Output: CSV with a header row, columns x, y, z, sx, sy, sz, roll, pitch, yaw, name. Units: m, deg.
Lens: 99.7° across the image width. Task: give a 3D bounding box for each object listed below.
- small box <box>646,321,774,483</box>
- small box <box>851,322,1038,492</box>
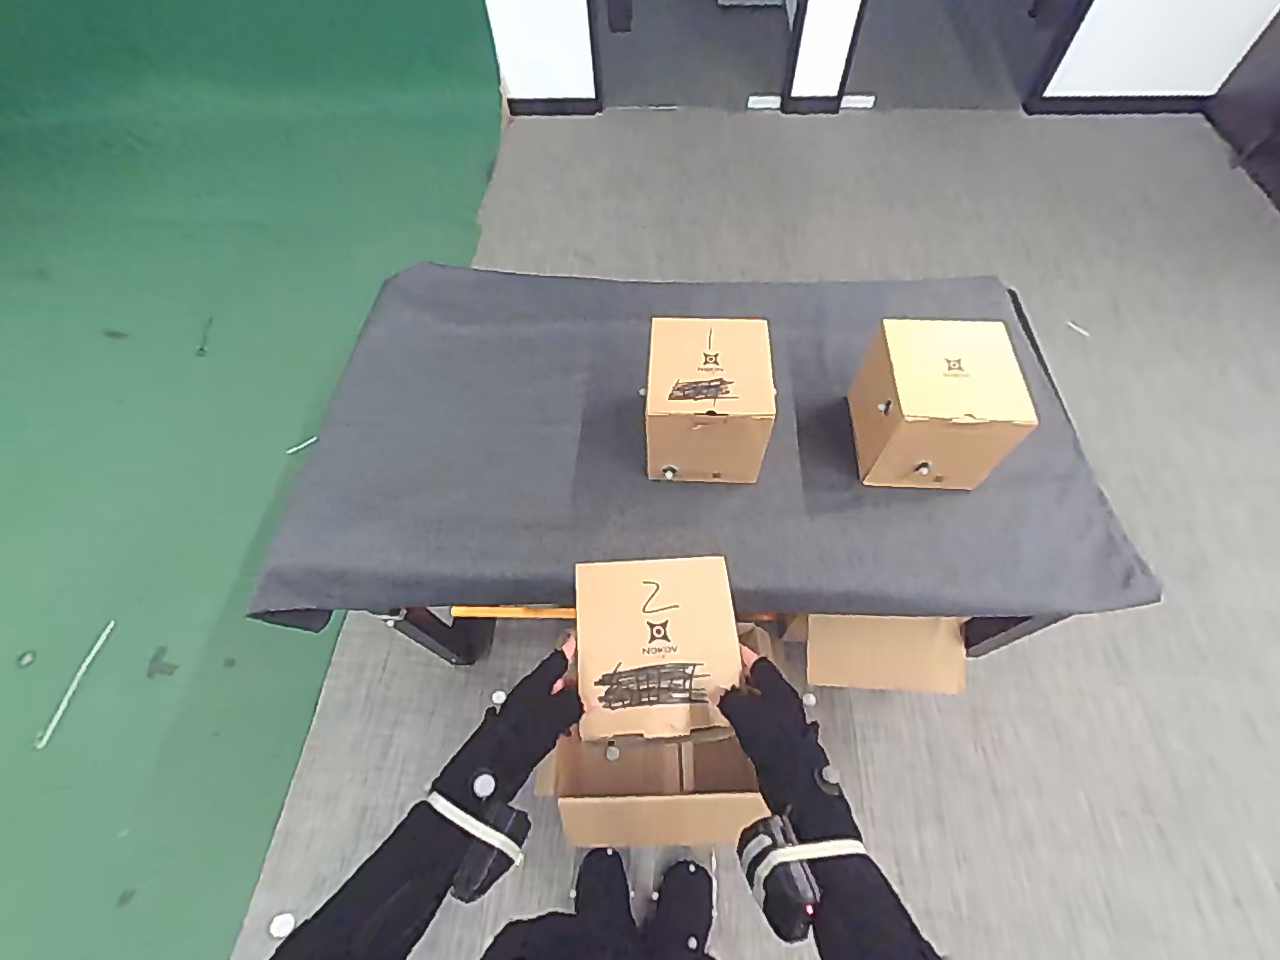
x,y,z,sx,sy,sz,roll,pitch,yaw,name
0.098,-0.109,0.793,0.168,0.176,0.179,2,58,3,small box
0.417,-0.103,0.780,0.168,0.176,0.179,2,60,4,small box
